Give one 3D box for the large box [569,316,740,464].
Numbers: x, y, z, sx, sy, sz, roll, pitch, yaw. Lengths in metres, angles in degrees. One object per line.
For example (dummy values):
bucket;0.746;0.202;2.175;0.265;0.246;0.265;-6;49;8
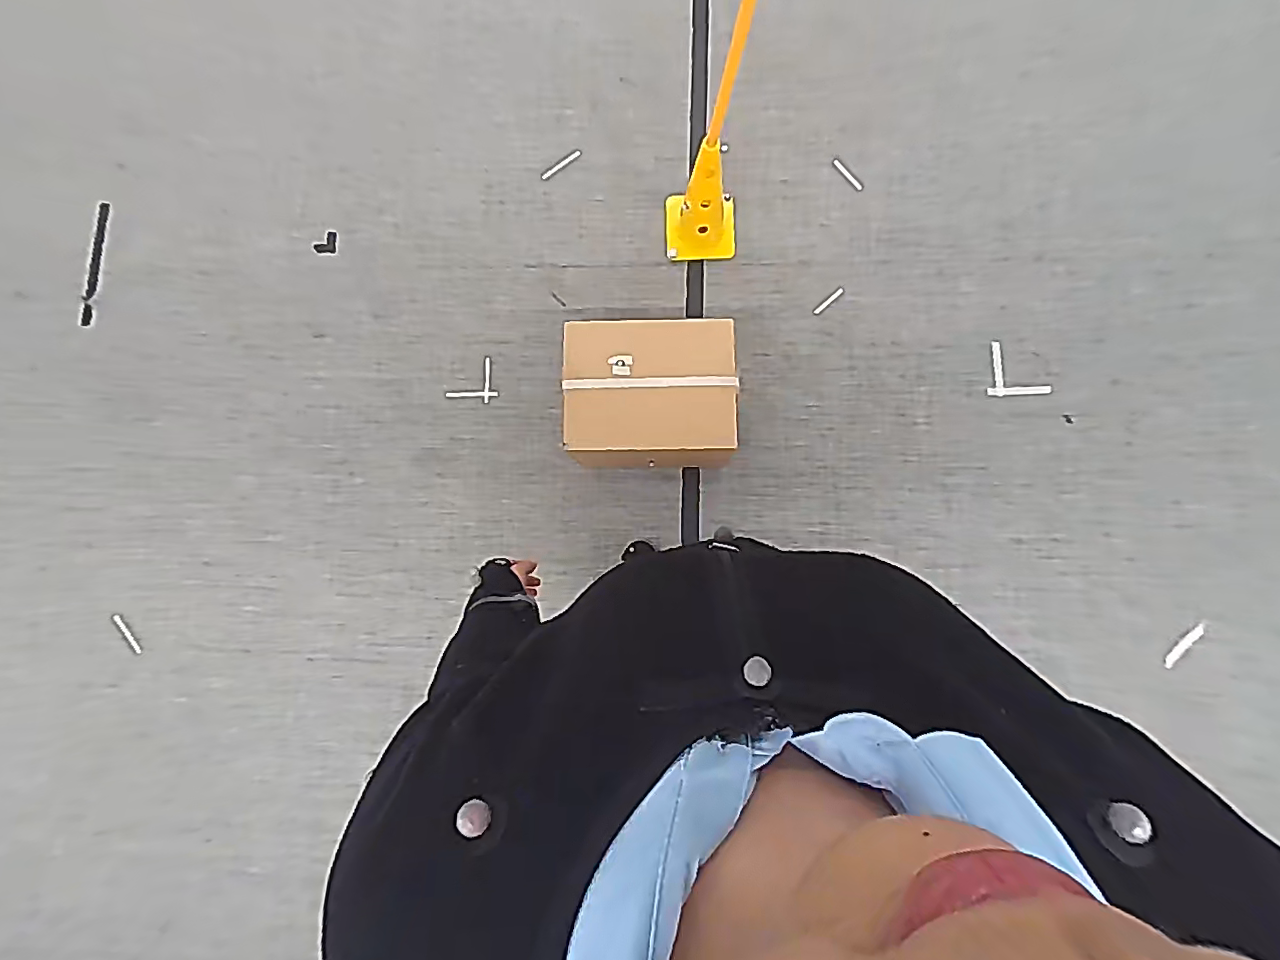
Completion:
large box;0.041;-0.214;1.415;0.408;0.320;0.320;-1;83;4
